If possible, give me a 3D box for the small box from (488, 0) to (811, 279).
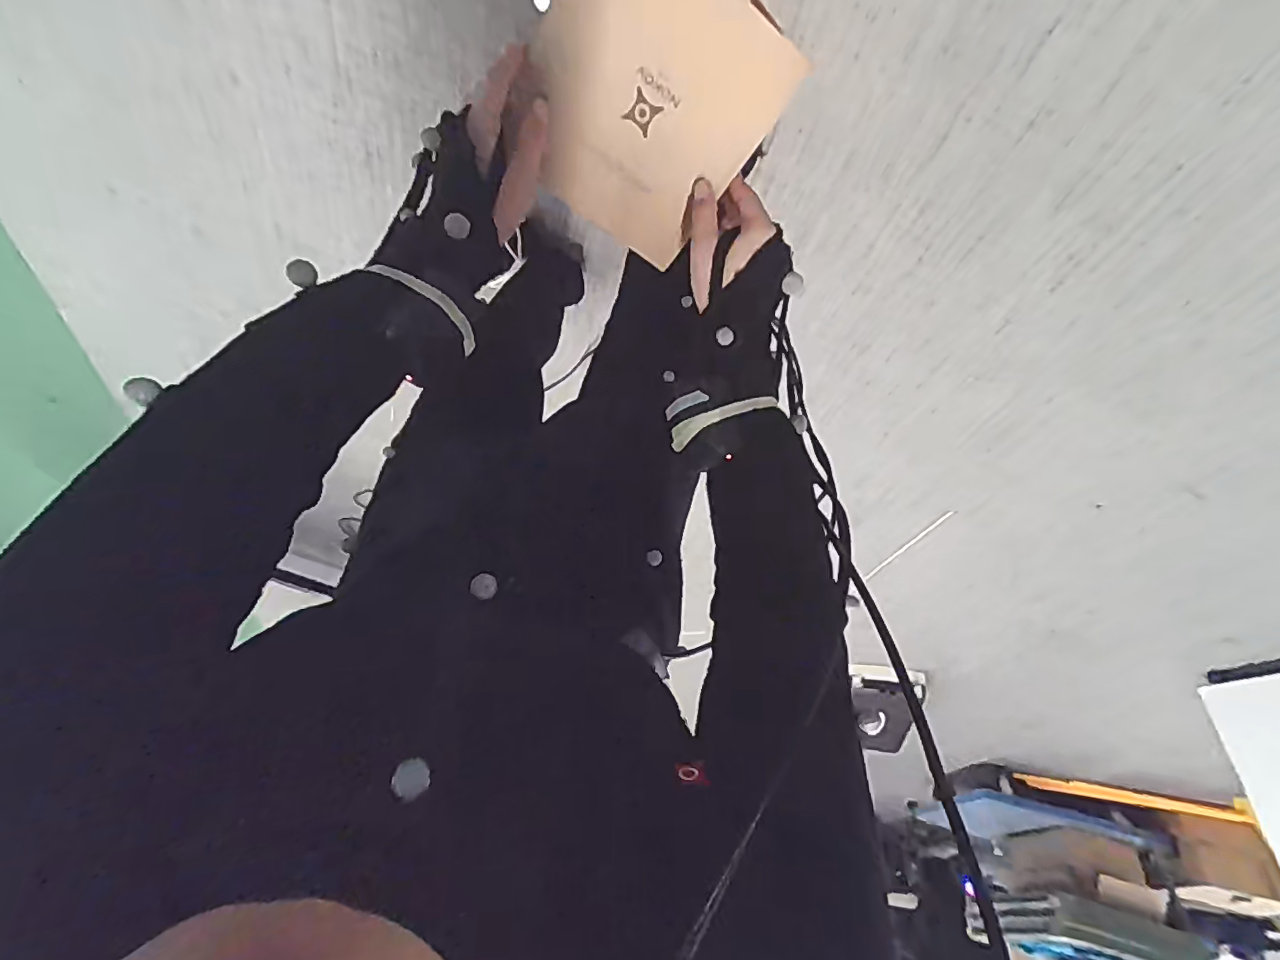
[{"bbox_3d":[0.001,-0.309,0.435,0.168,0.176,0.179,27,128,-22],"label":"small box"}]
